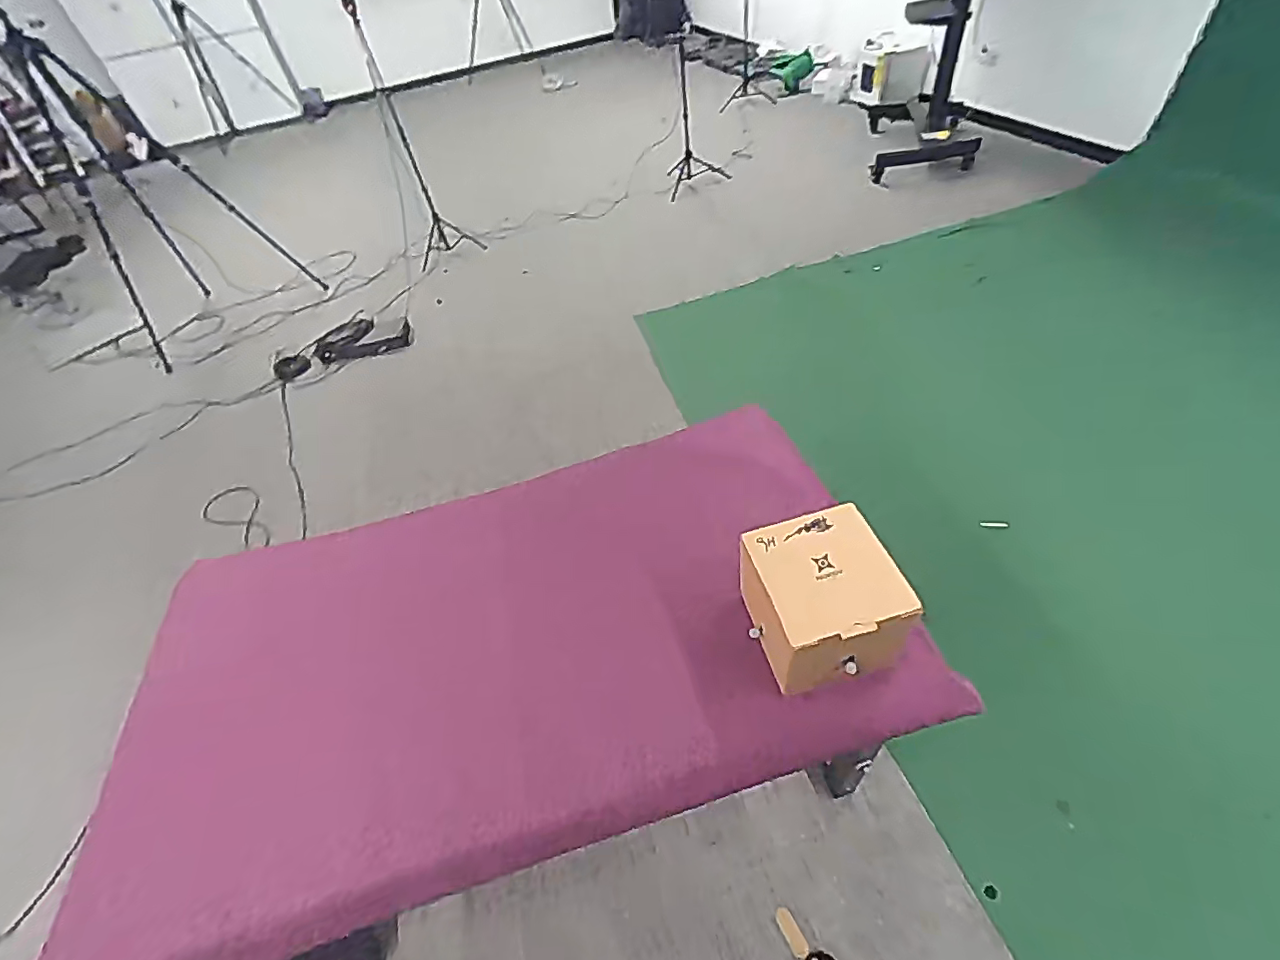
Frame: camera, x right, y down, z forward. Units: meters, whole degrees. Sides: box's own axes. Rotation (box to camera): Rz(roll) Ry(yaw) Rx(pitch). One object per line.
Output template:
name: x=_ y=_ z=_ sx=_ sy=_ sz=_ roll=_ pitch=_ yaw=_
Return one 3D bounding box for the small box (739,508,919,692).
small box: x=0.243 y=0.172 z=0.741 sx=0.168 sy=0.176 sz=0.179 roll=-16 pitch=49 yaw=-2
